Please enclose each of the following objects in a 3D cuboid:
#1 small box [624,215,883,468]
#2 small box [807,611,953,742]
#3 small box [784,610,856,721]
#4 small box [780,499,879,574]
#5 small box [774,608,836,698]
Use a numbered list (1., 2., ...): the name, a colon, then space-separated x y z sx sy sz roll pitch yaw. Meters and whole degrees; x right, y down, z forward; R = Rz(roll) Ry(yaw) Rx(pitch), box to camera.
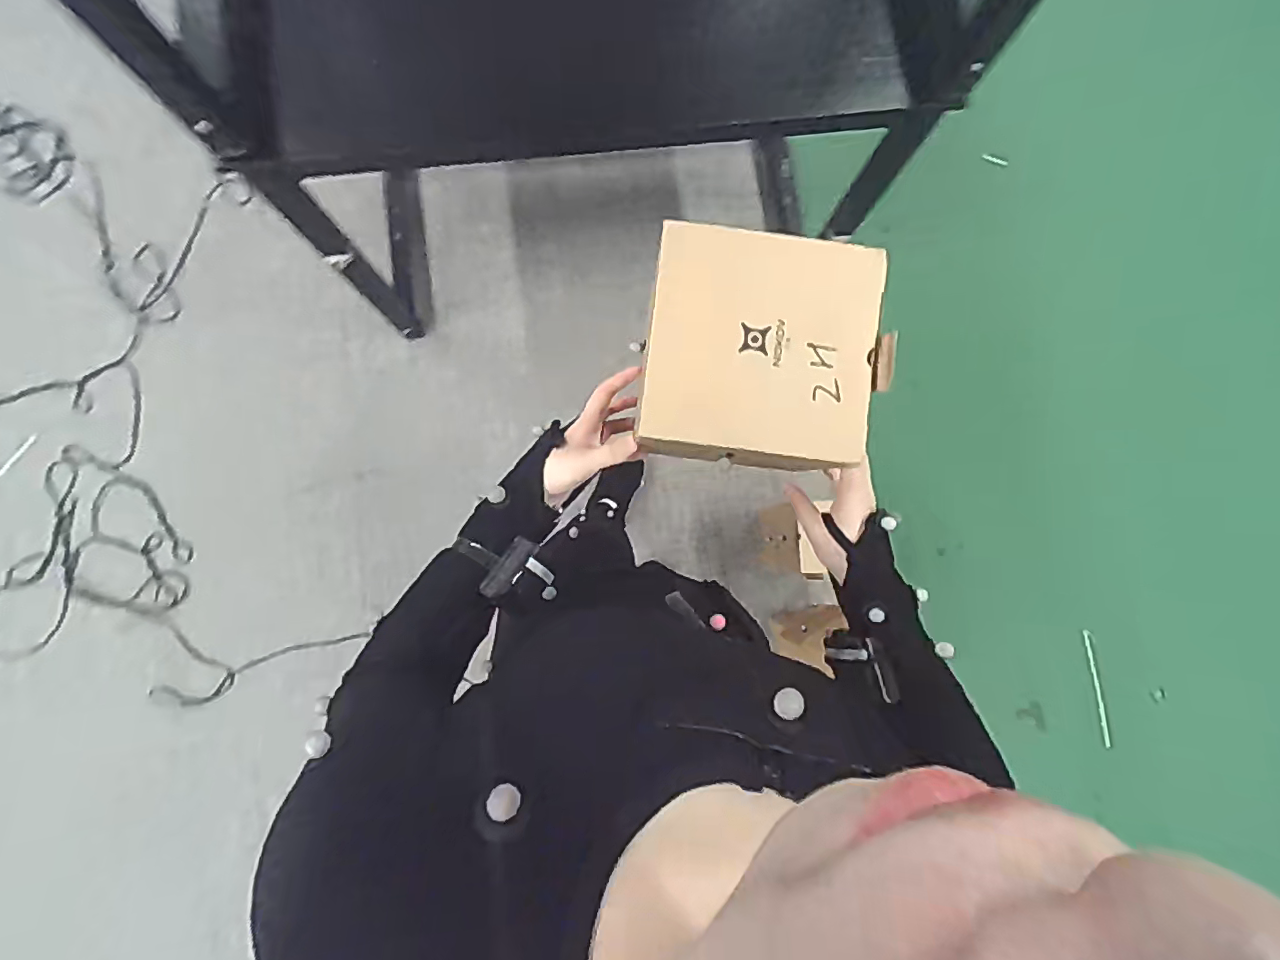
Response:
1. small box: 0.081 -0.102 0.473 0.179 0.176 0.168 7 90 -3
2. small box: 0.464 0.377 1.078 0.168 0.176 0.179 -31 86 -4
3. small box: 0.456 0.411 1.238 0.168 0.176 0.179 -27 86 -3
4. small box: 0.434 0.136 1.268 0.179 0.176 0.168 0 83 -2
5. small box: 0.461 0.436 1.399 0.168 0.176 0.179 -14 85 -3
